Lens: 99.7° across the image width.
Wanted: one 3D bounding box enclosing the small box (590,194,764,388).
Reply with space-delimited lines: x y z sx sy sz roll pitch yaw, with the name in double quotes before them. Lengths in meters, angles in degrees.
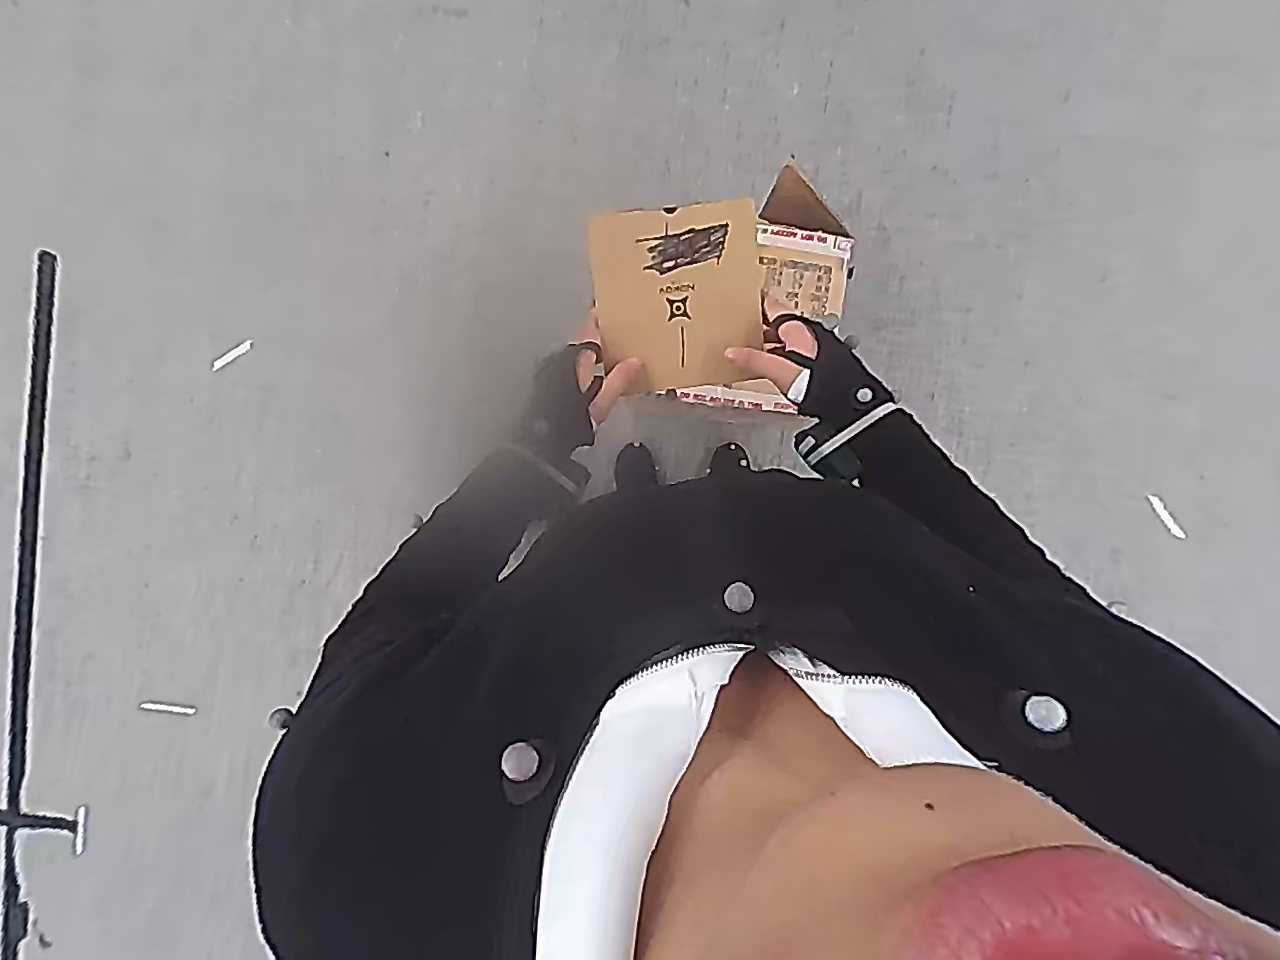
"small box" 0.035 -0.199 0.616 0.168 0.176 0.179 -7 101 -1
